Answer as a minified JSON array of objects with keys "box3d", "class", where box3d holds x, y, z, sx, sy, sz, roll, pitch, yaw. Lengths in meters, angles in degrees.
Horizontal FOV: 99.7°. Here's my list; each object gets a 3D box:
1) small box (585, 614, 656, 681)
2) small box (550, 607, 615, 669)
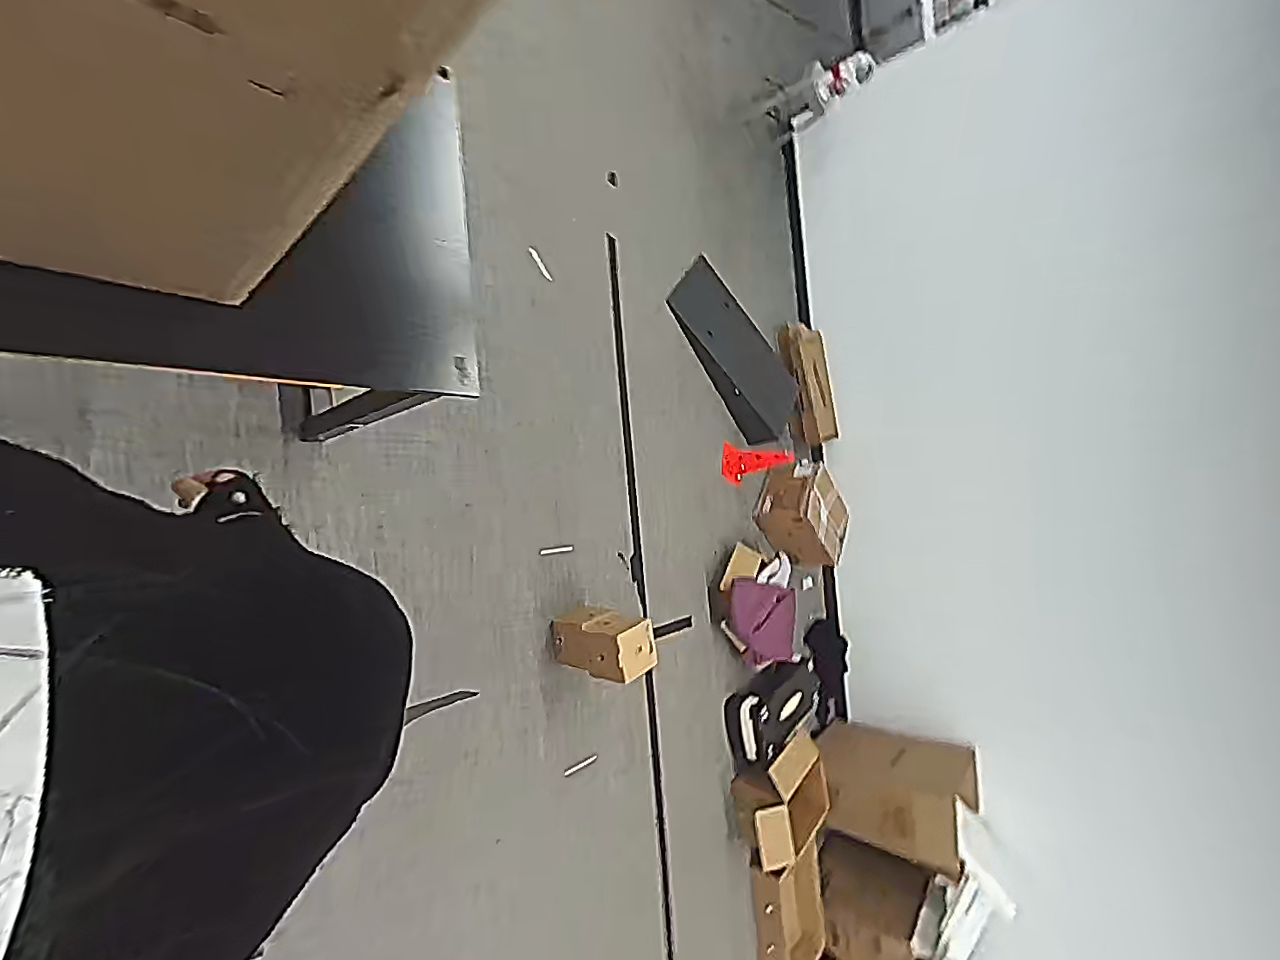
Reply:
[{"box3d":[-0.074,0.567,1.849,0.179,0.176,0.168,-13,94,-49],"class":"small box"},{"box3d":[-0.198,0.564,1.957,0.179,0.176,0.168,-11,93,-48],"class":"small box"}]
